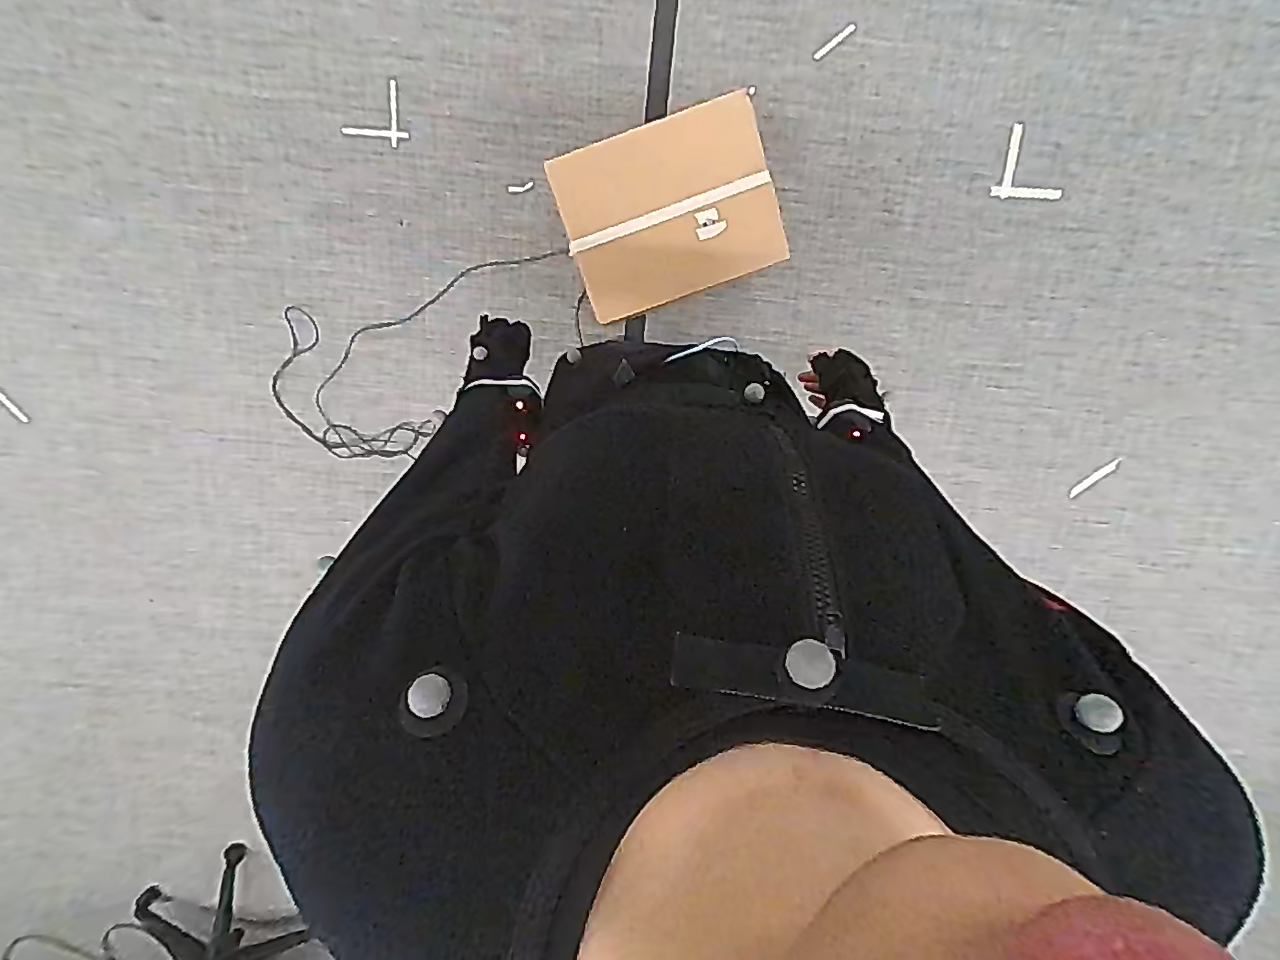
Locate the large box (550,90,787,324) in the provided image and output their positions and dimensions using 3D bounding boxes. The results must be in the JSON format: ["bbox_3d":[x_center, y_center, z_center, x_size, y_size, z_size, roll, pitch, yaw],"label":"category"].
[{"bbox_3d":[0.055,-0.562,1.195,0.408,0.320,0.320,-18,106,2],"label":"large box"}]
